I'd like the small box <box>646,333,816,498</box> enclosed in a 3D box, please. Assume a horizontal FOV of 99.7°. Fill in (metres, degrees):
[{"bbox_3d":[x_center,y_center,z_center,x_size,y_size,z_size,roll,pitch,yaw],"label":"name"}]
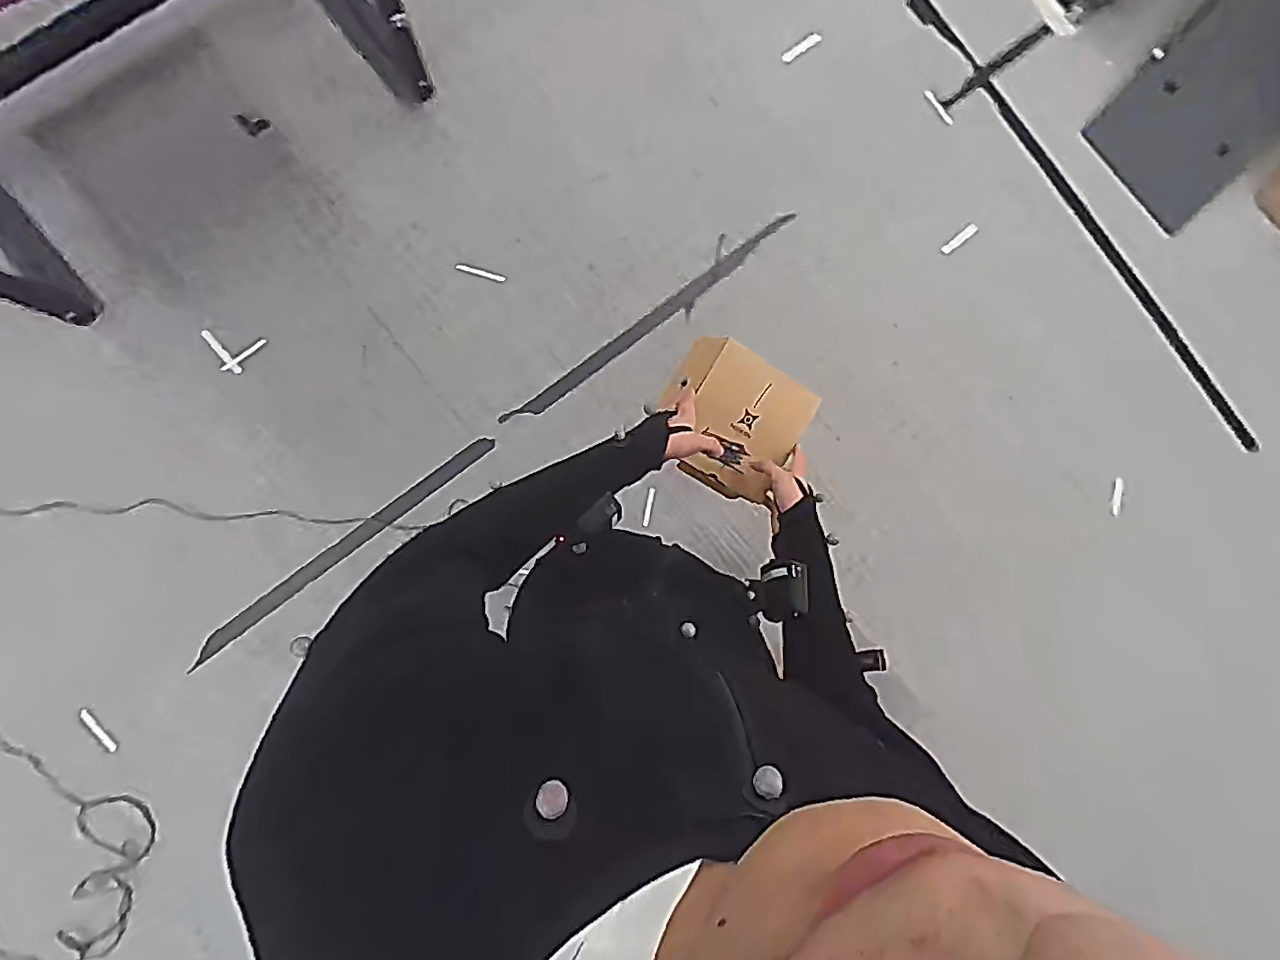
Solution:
[{"bbox_3d":[0.122,-0.103,0.812,0.168,0.176,0.179,29,99,-15],"label":"small box"}]
